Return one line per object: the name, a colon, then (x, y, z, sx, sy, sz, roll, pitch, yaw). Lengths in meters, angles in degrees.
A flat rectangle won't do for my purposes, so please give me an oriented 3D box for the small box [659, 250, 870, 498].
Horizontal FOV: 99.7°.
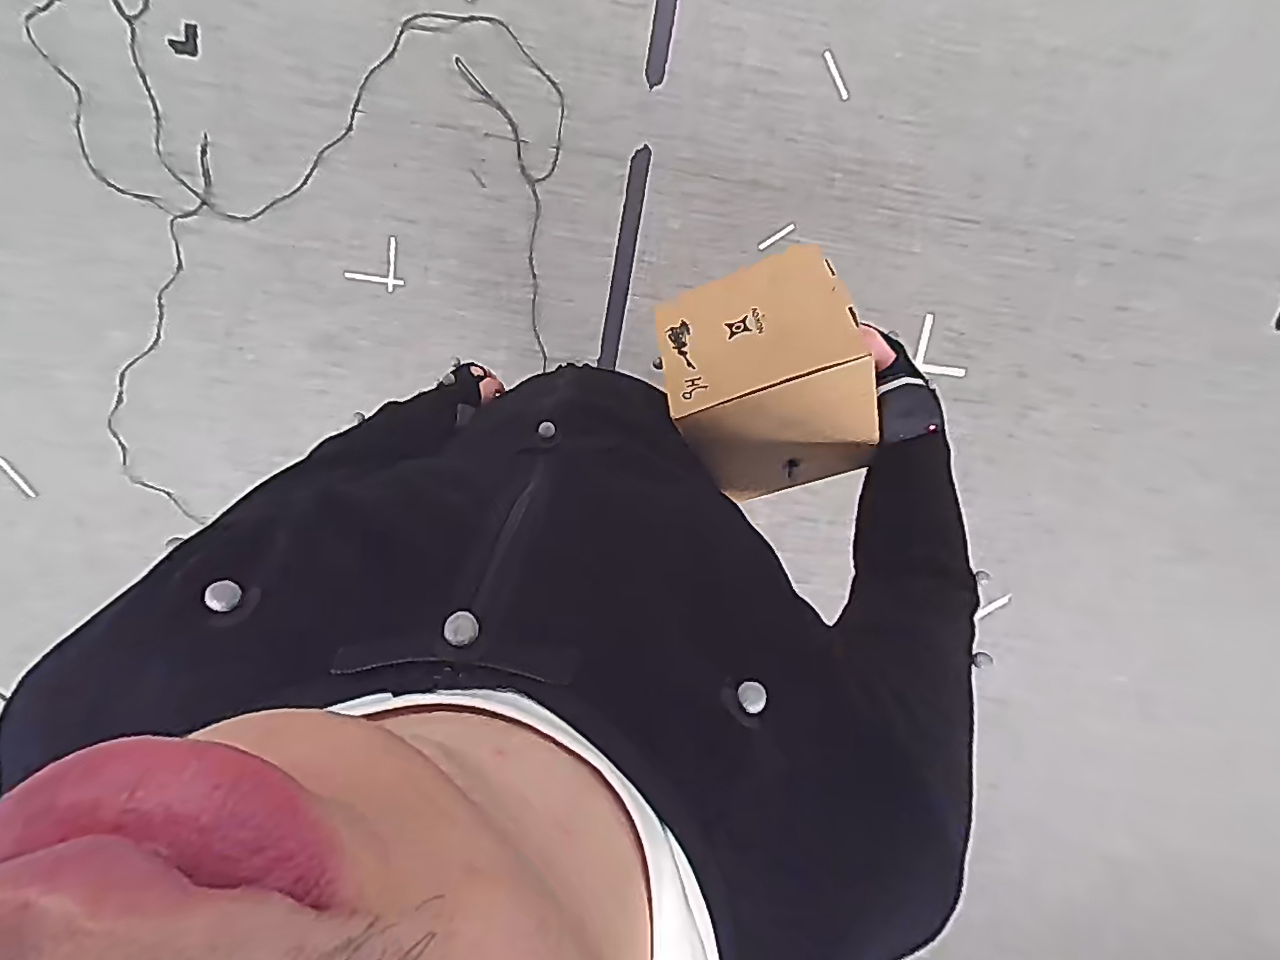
small box: (0.135, -0.104, 0.585, 0.179, 0.168, 0.176, -17, 143, 15)
